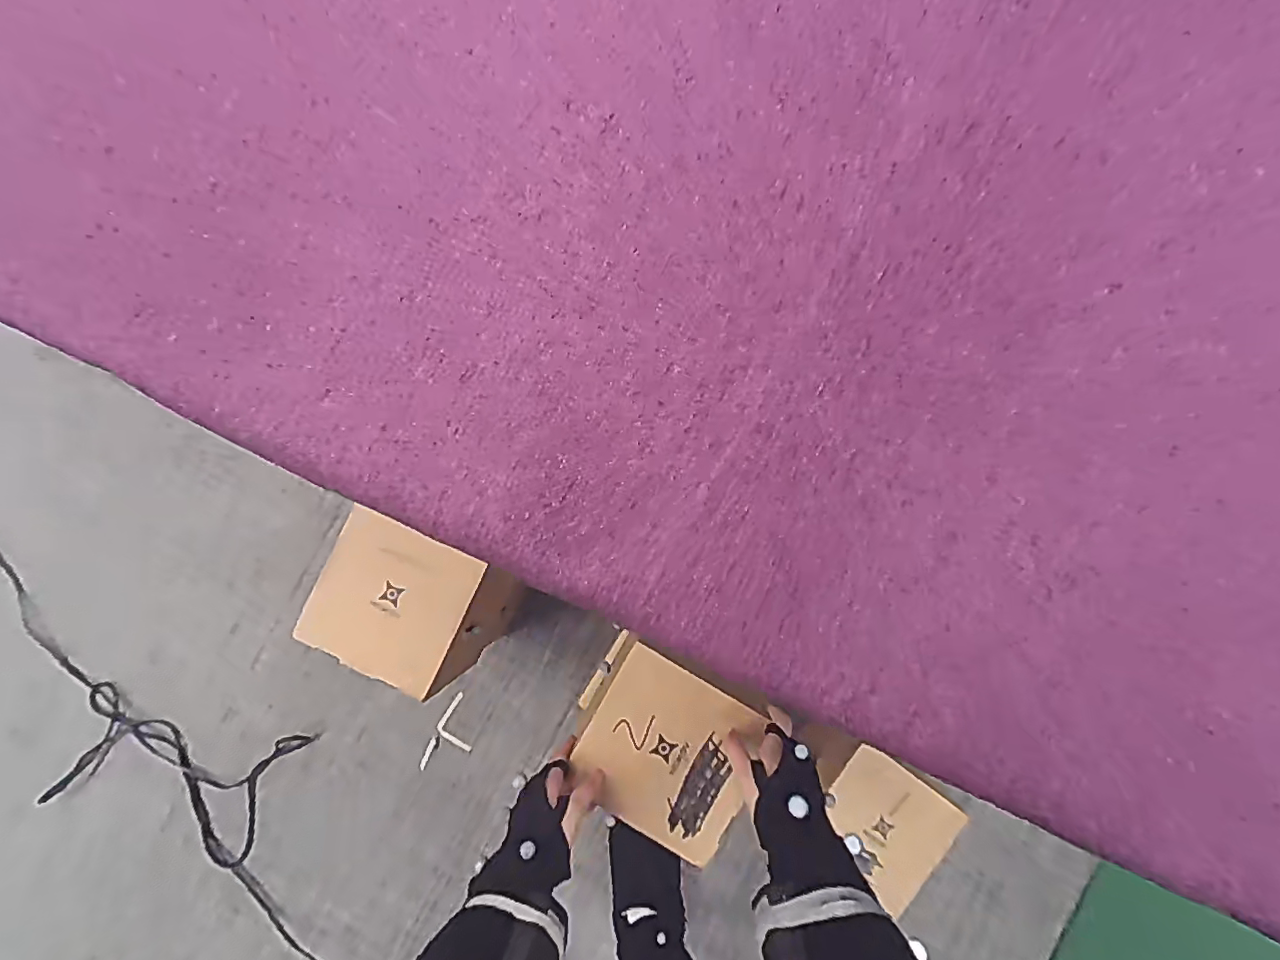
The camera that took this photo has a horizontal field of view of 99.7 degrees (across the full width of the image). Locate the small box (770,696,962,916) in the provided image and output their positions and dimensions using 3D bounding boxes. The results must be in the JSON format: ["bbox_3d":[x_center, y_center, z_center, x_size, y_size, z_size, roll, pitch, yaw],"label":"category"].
[{"bbox_3d":[0.308,0.453,0.783,0.168,0.176,0.179,37,88,5],"label":"small box"}]
